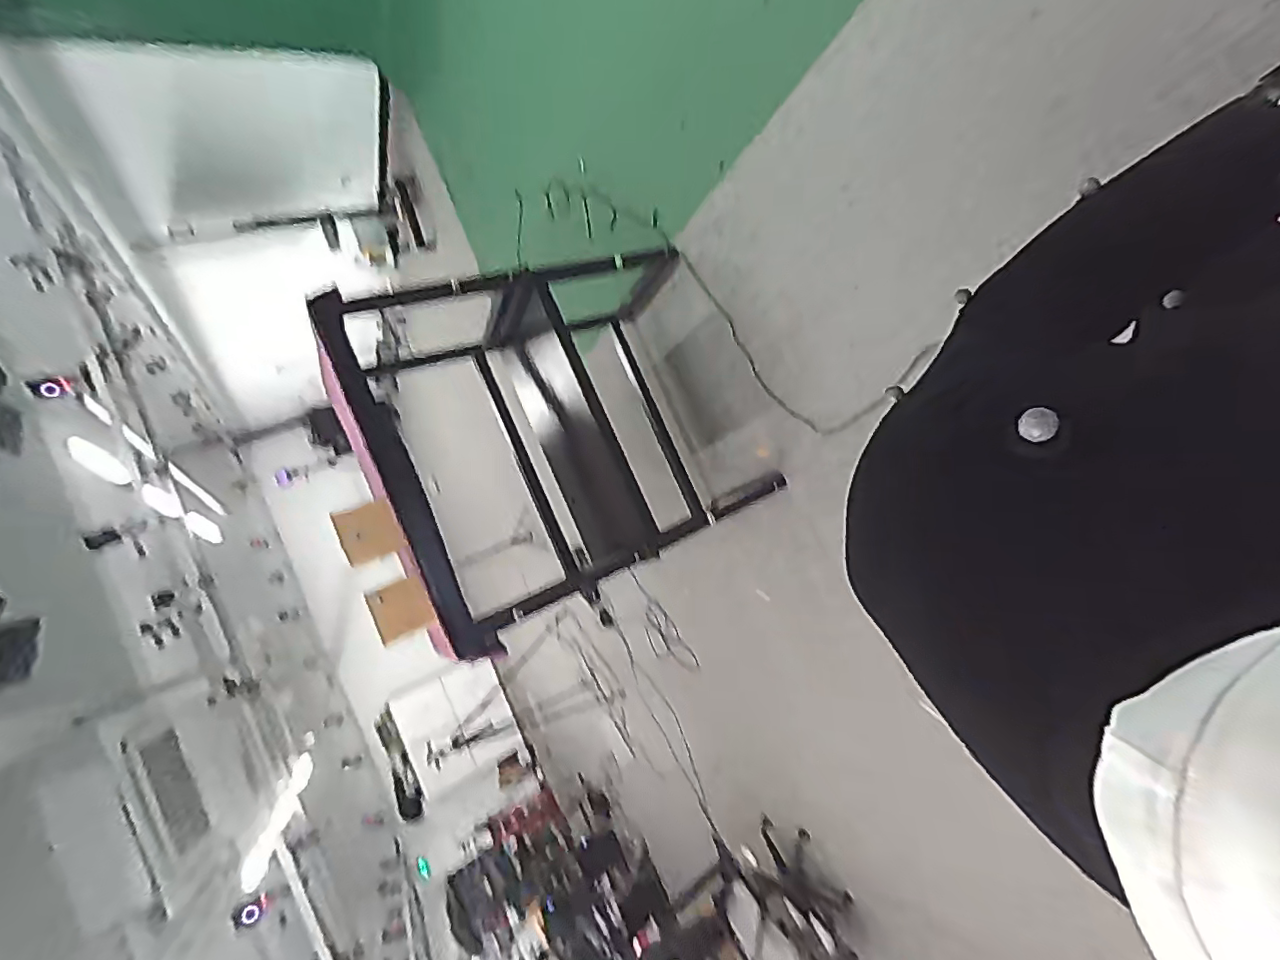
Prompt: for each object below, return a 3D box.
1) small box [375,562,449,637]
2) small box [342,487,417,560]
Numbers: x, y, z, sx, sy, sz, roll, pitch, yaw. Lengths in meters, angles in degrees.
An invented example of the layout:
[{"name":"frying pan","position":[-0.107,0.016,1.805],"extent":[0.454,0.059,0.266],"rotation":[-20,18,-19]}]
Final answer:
[{"name":"small box","position":[-0.720,0.379,1.717],"extent":[0.179,0.176,0.168],"rotation":[65,152,6]},{"name":"small box","position":[-0.830,0.141,1.735],"extent":[0.168,0.176,0.179],"rotation":[-26,87,62]}]
